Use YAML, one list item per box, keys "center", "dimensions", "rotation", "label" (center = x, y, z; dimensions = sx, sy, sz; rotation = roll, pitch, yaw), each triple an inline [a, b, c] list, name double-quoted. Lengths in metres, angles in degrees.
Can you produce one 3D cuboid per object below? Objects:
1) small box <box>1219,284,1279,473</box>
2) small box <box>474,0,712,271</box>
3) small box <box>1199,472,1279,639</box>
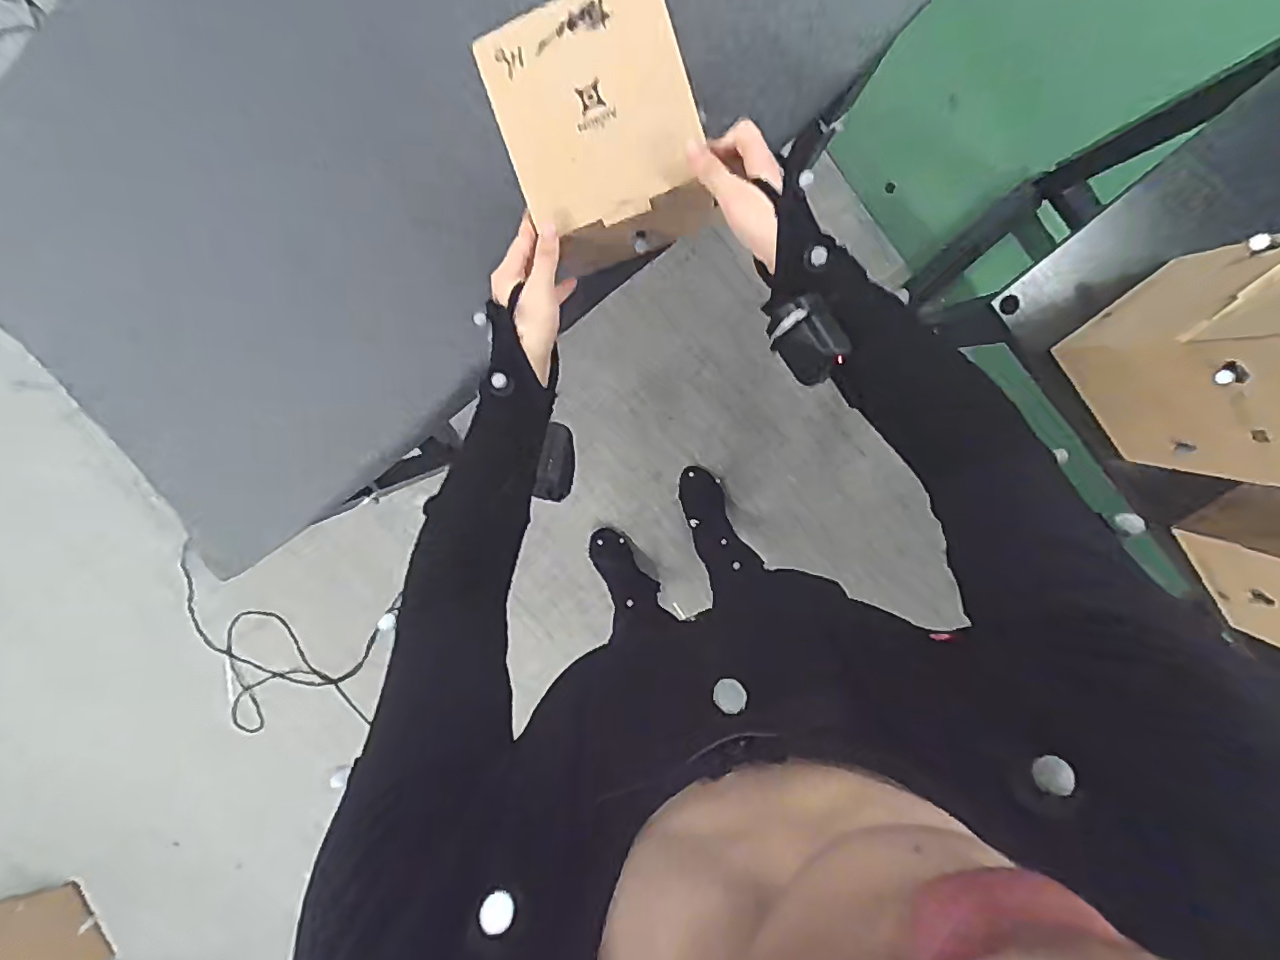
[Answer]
- center: [0.600, -0.094, 0.395]
  dimensions: [0.179, 0.176, 0.168]
  rotation: [-37, 97, 9]
  label: "small box"
- center: [-0.029, -0.322, 0.538]
  dimensions: [0.168, 0.176, 0.179]
  rotation: [-17, 100, 11]
  label: "small box"
- center: [0.777, 0.088, 0.583]
  dimensions: [0.179, 0.176, 0.168]
  rotation: [-36, 97, 9]
  label: "small box"
